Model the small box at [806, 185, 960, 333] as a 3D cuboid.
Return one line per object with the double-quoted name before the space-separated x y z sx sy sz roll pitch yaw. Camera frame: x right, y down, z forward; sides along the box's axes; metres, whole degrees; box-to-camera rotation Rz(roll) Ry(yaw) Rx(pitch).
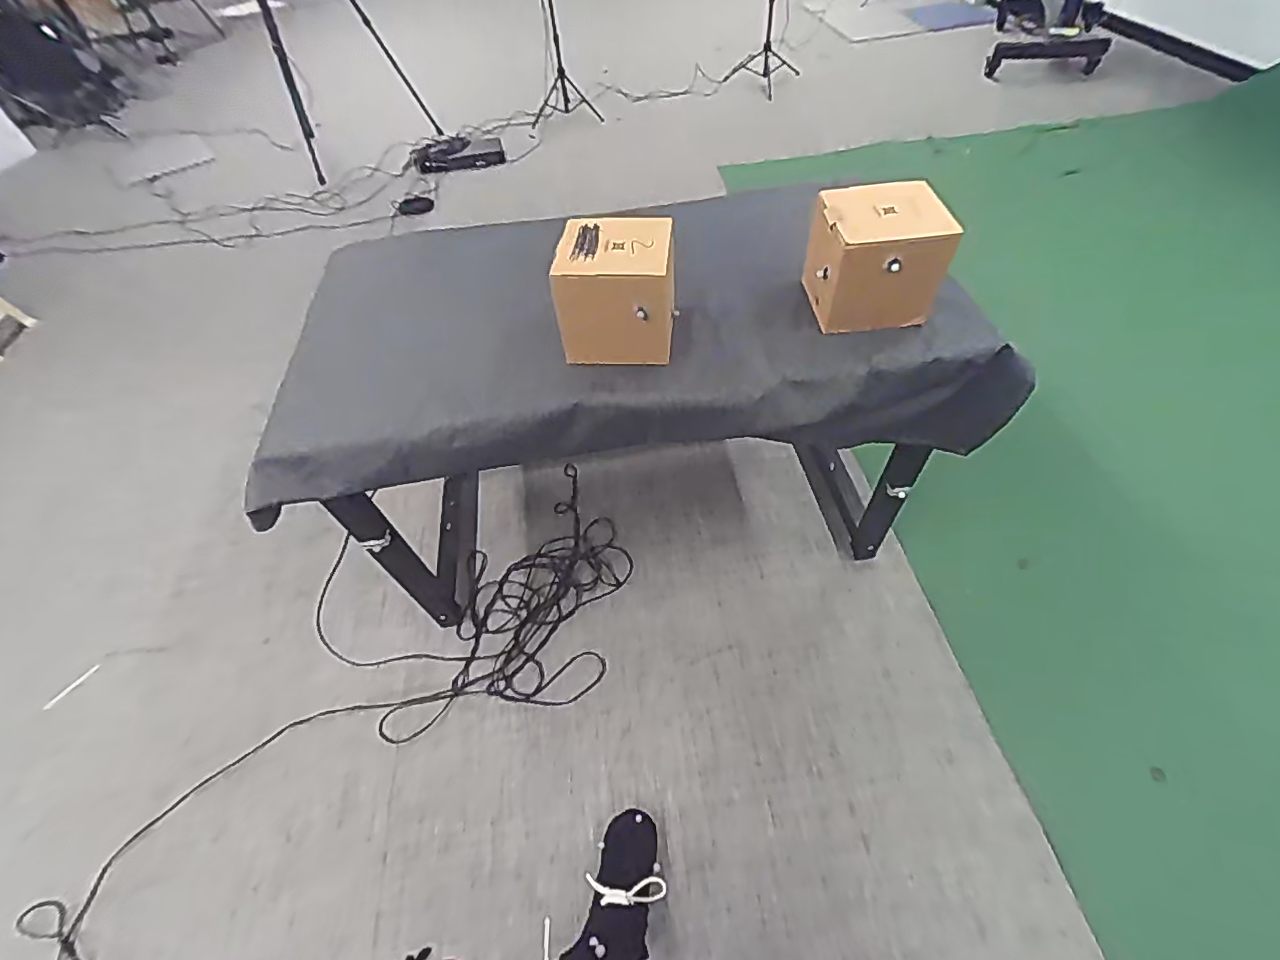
"small box" 0.386 -0.363 0.902 0.179 0.176 0.168 -4 54 1
